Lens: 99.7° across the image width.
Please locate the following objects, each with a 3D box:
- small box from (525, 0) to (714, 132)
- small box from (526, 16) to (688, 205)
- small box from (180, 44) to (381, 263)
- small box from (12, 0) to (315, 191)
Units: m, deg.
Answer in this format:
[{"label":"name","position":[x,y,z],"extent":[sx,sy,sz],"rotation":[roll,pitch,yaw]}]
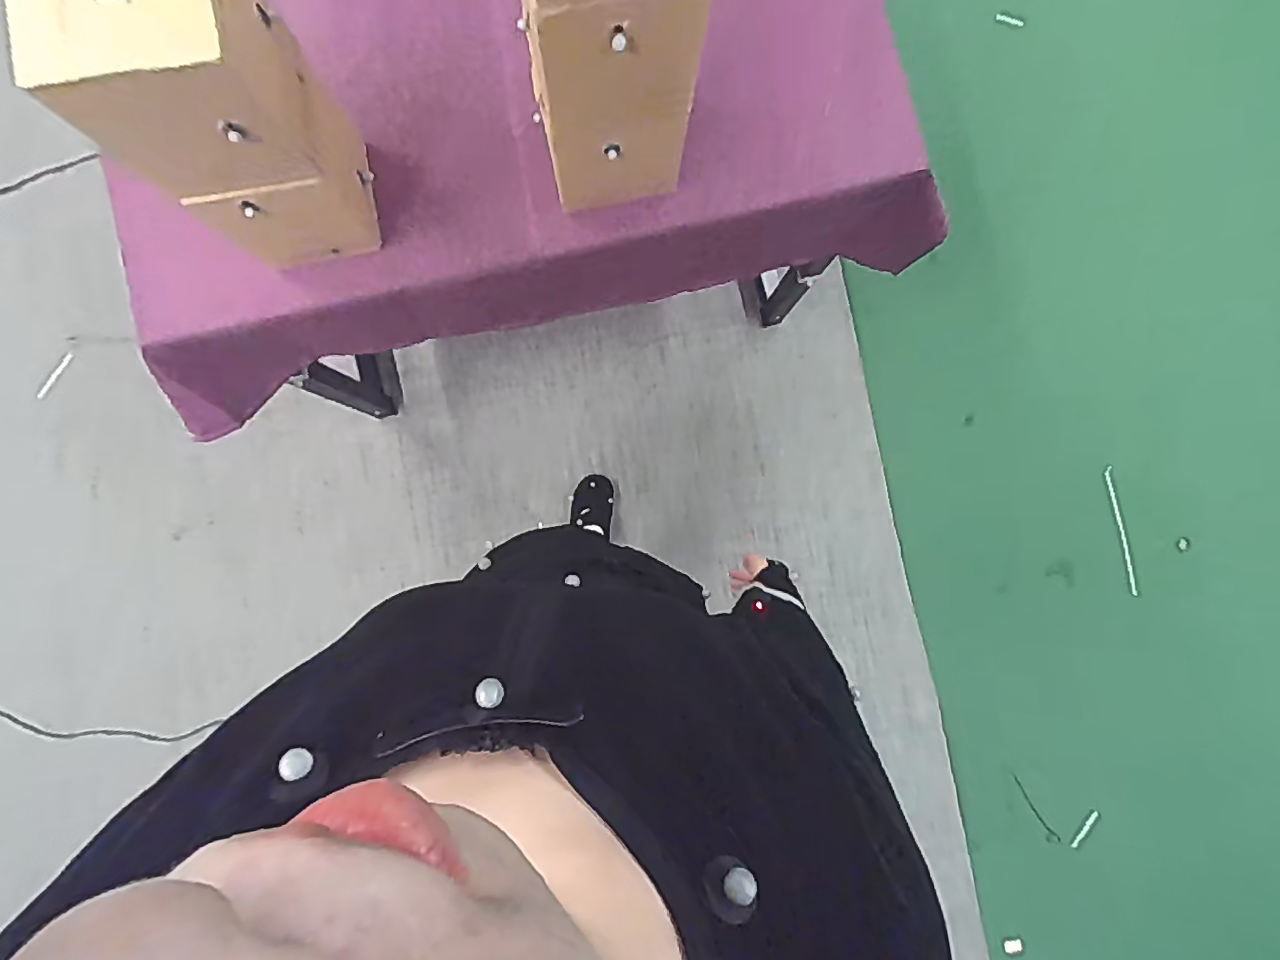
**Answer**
[{"label":"small box","position":[-0.033,-0.515,0.577],"extent":[0.179,0.176,0.168],"rotation":[-13,88,-3]},{"label":"small box","position":[-0.043,-0.505,0.739],"extent":[0.179,0.176,0.168],"rotation":[-12,87,-3]},{"label":"small box","position":[-0.469,-0.419,0.716],"extent":[0.168,0.176,0.179],"rotation":[-11,87,-3]},{"label":"small box","position":[-0.462,-0.428,0.552],"extent":[0.179,0.176,0.168],"rotation":[-10,87,-3]}]
